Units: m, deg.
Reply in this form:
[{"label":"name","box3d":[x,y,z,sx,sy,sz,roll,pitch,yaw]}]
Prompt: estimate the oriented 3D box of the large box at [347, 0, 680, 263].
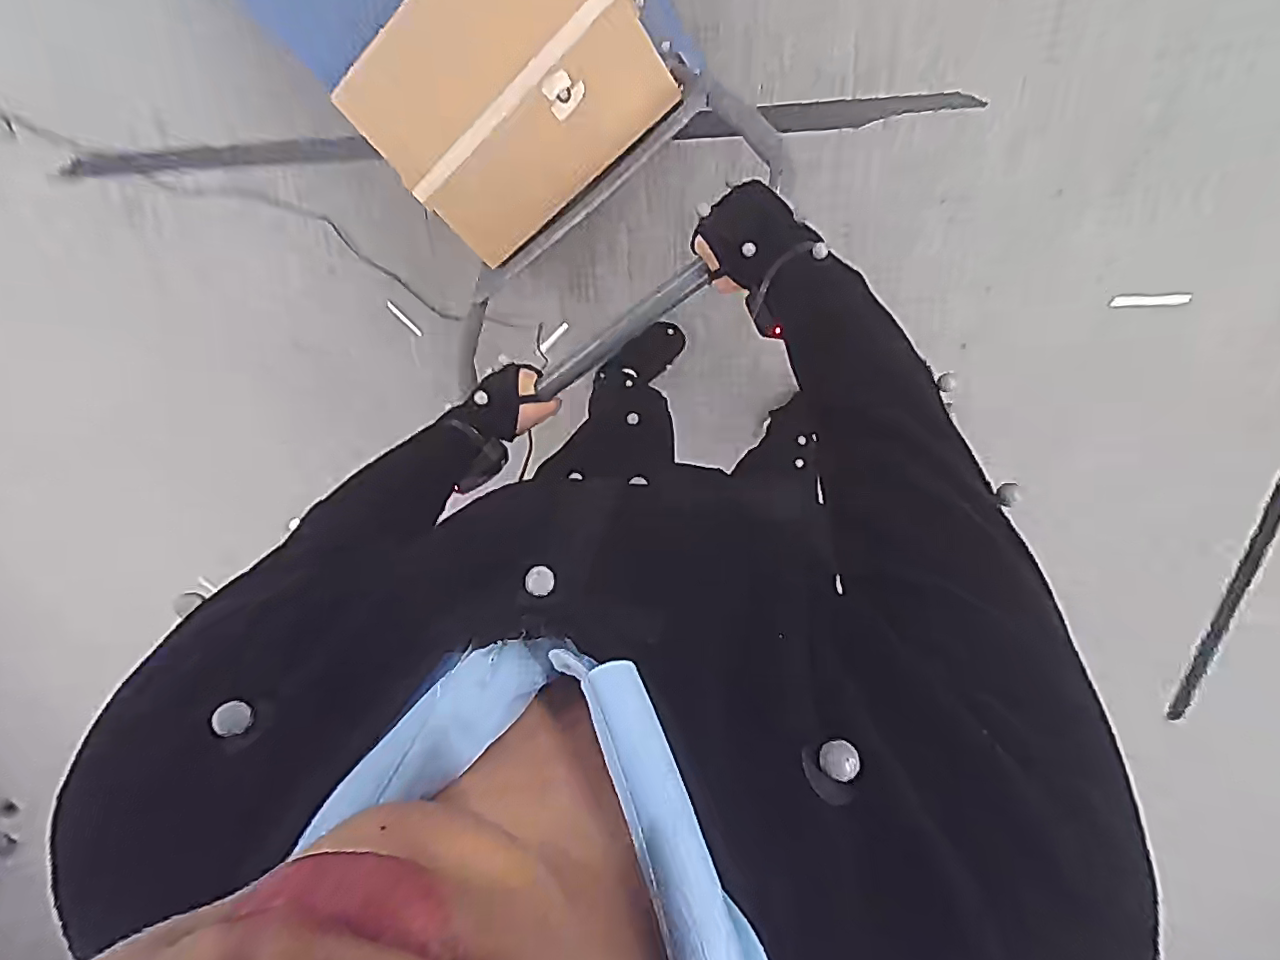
[{"label":"large box","box3d":[-0.195,-0.657,0.910,0.408,0.320,0.320,-34,125,20]}]
